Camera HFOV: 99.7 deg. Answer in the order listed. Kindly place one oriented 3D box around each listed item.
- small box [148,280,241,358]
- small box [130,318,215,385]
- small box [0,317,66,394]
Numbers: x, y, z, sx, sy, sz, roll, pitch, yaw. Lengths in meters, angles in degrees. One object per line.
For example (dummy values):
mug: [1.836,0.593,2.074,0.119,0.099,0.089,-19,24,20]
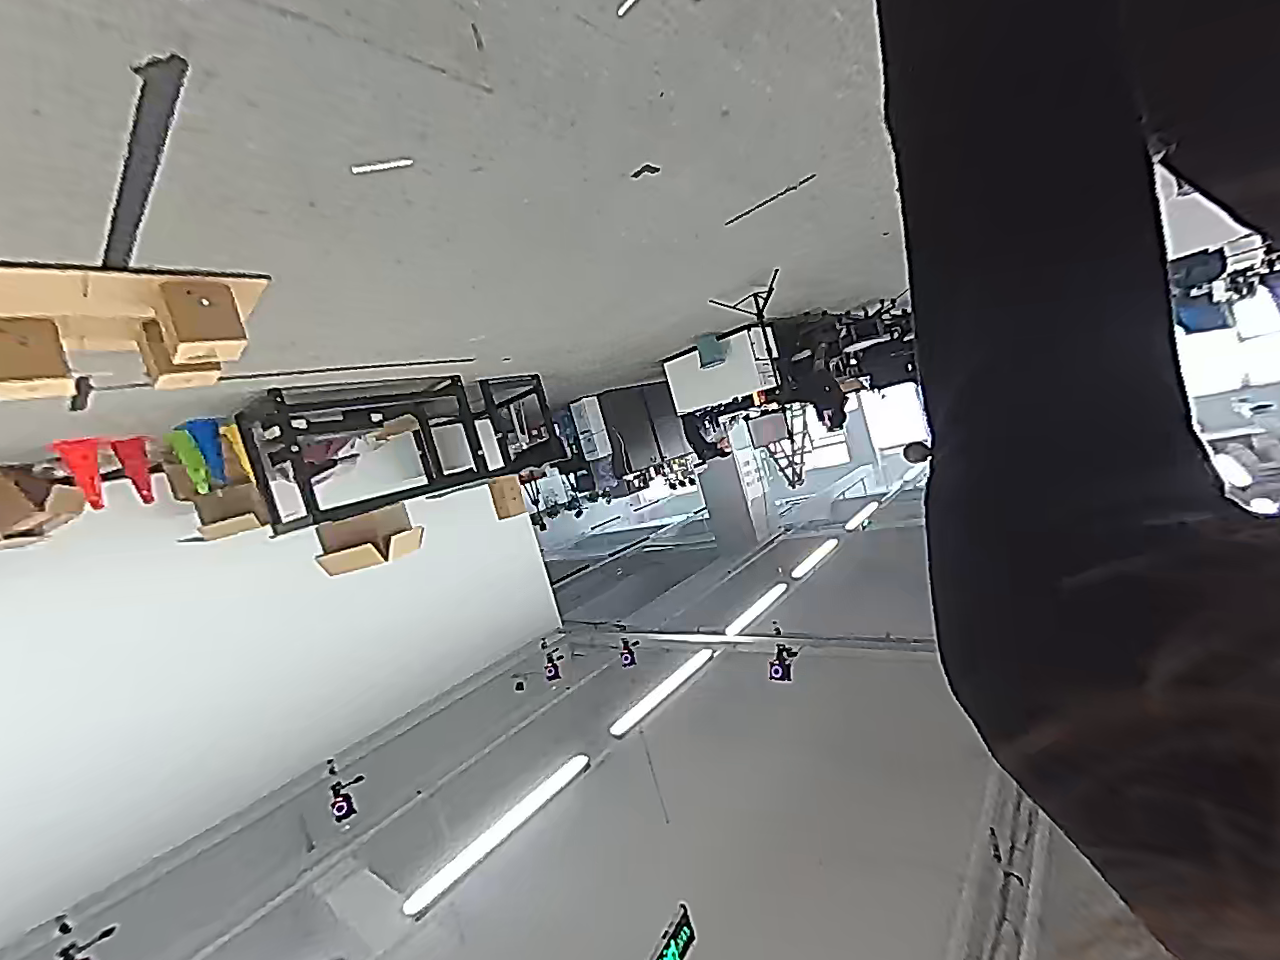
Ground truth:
small box: [-1.307,-0.469,1.583,0.179,0.176,0.168,-13,-175,43]
small box: [-1.525,-0.418,1.760,0.179,0.176,0.168,-13,-174,43]
small box: [-1.742,-0.346,1.503,0.179,0.176,0.168,-12,-175,46]
